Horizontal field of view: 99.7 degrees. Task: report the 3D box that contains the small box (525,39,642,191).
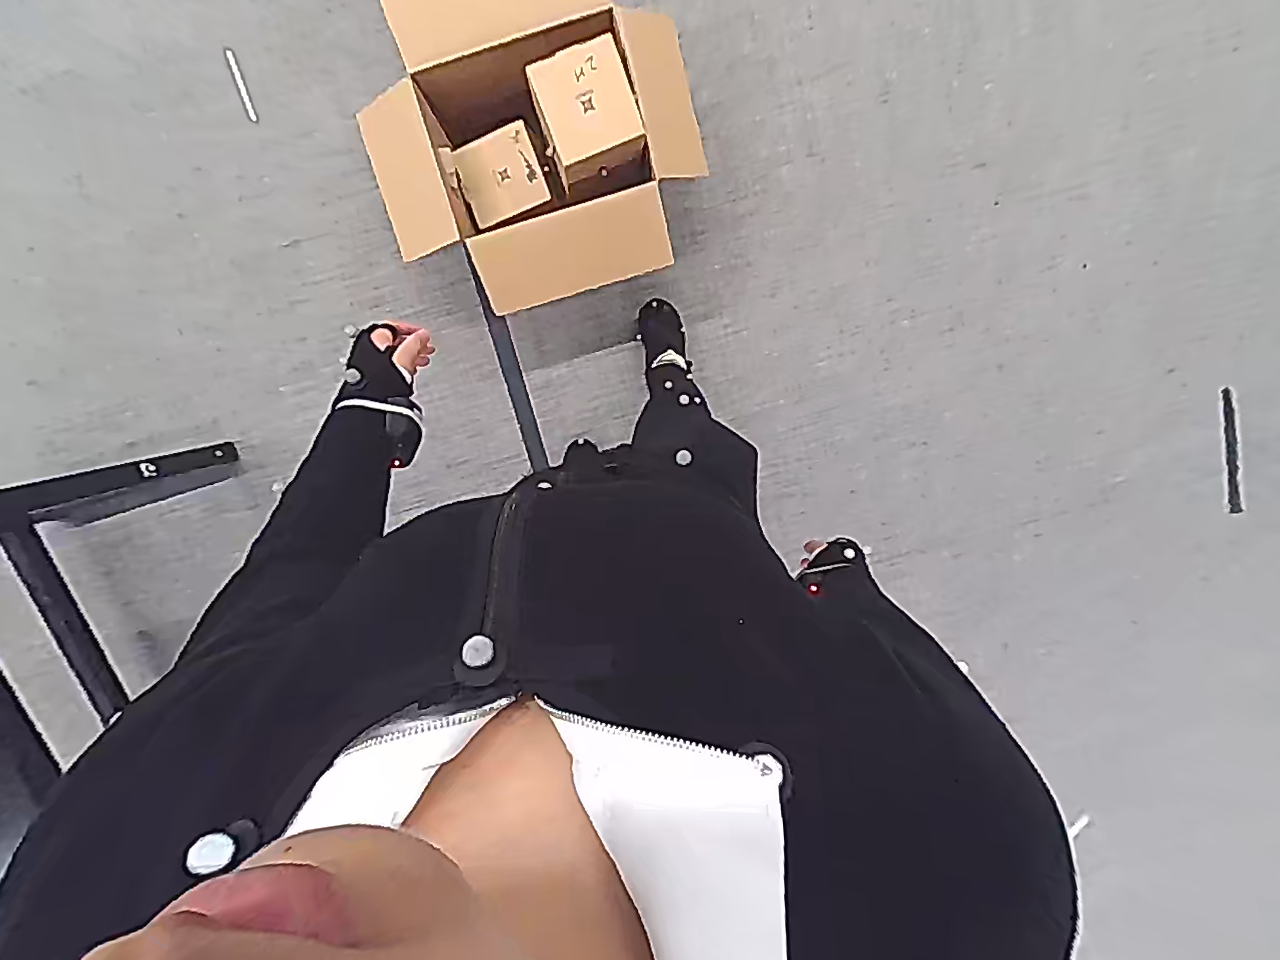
[{"bbox_3d":[-0.105,-0.693,1.055,0.168,0.176,0.179,-22,102,0],"label":"small box"}]
